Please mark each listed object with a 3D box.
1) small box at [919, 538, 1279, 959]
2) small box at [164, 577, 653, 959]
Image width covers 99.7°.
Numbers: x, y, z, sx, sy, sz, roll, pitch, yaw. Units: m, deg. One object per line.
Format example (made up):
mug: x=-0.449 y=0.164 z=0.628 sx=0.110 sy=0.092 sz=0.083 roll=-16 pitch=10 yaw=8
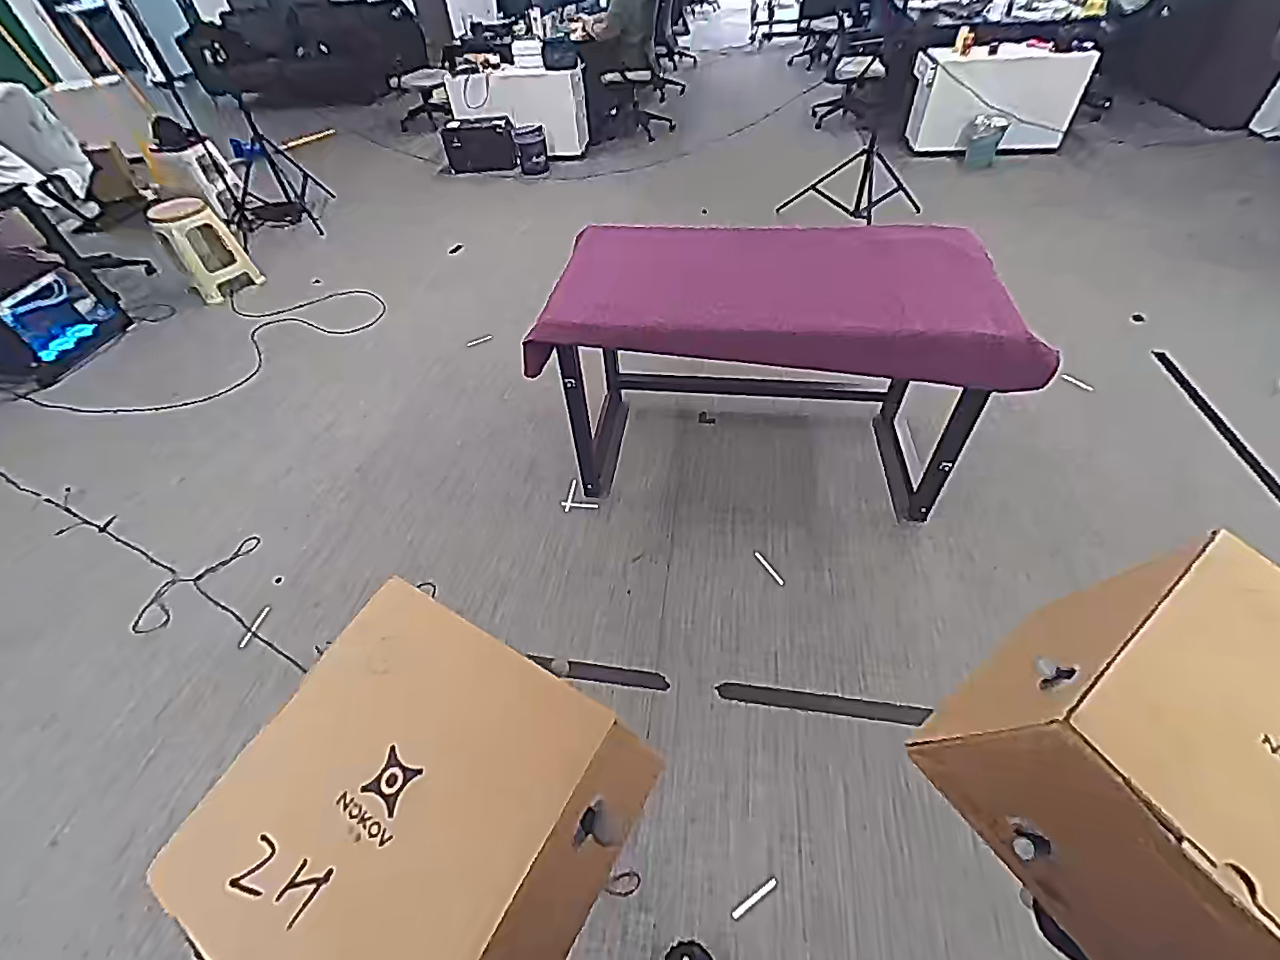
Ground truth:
small box: x=0.315 y=0.171 z=0.331 sx=0.179 sy=0.176 sz=0.168 roll=-34 pitch=67 yaw=-19
small box: x=-0.105 y=0.195 z=0.326 sx=0.168 sy=0.176 sz=0.179 roll=22 pitch=64 yaw=25
